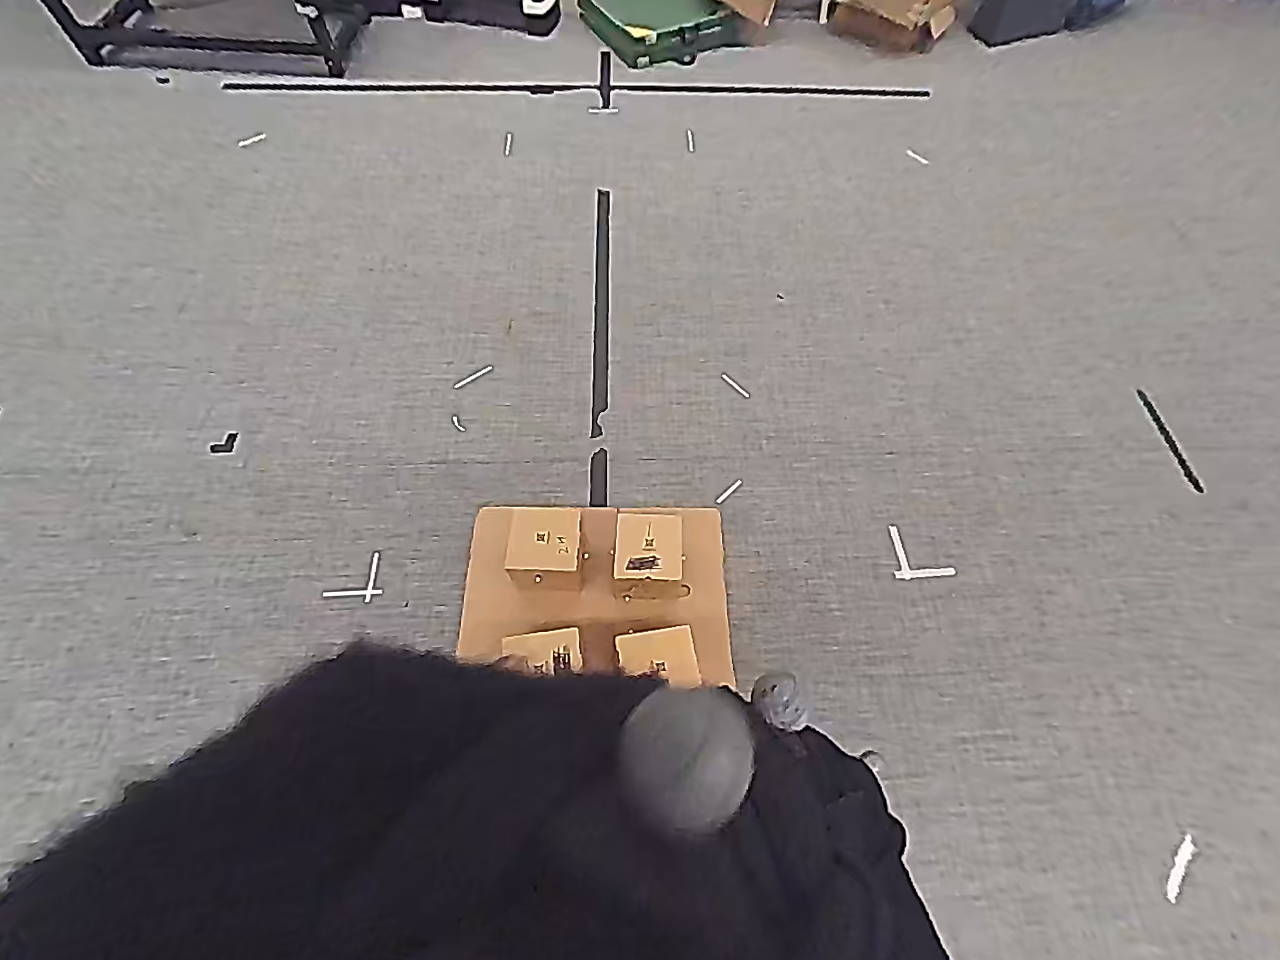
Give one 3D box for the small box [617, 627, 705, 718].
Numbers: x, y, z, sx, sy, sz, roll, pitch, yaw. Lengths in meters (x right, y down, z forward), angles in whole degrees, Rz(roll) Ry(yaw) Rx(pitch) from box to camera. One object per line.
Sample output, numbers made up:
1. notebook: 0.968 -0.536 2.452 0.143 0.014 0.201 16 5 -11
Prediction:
1. small box: 0.043 0.458 1.280 0.179 0.176 0.168 -8 62 -5
